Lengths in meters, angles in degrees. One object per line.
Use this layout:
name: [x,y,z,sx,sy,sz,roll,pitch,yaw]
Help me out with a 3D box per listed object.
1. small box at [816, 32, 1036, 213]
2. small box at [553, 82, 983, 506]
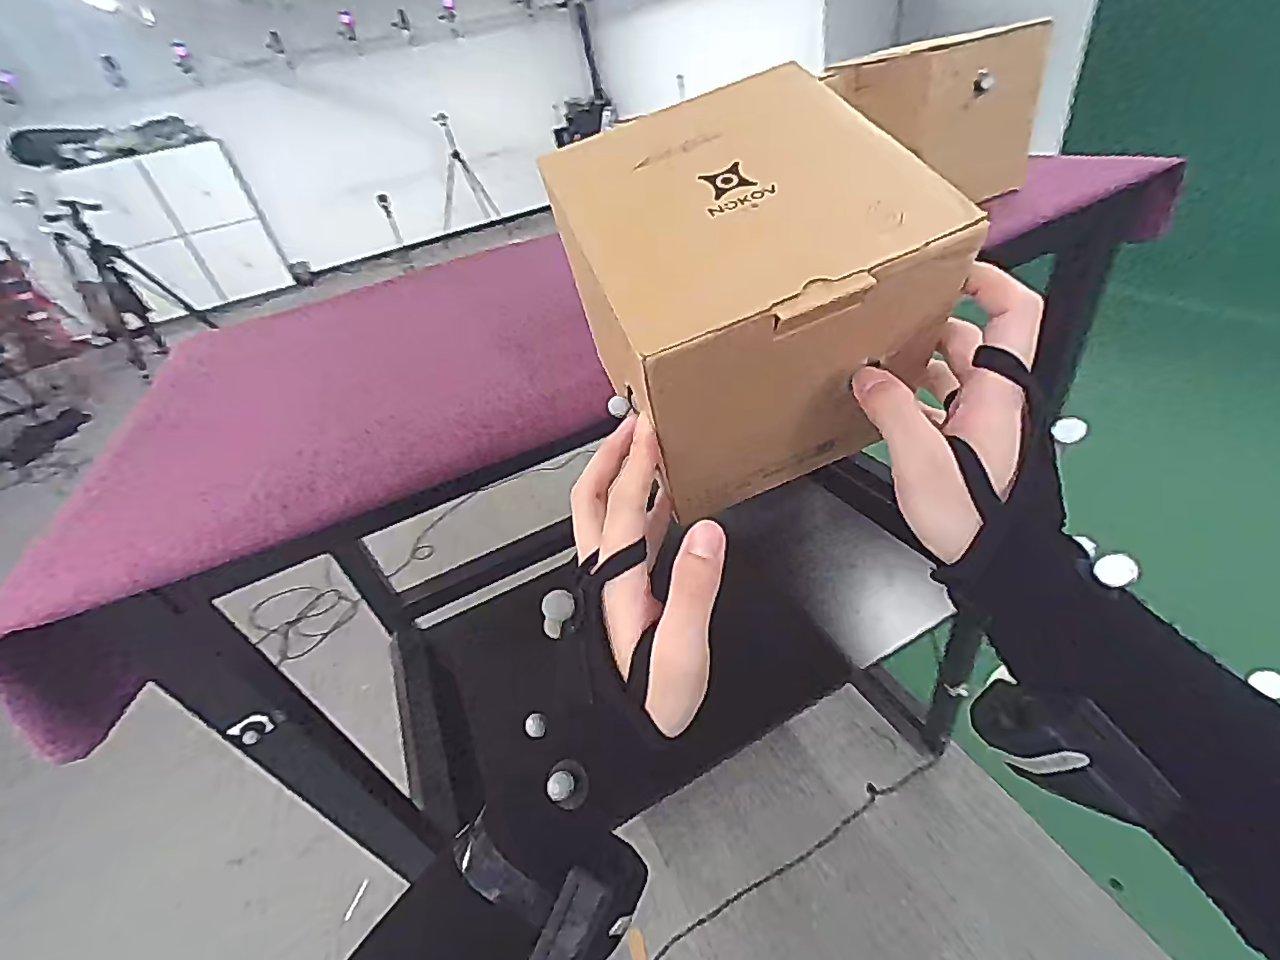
small box: [0.345,-0.430,0.682,0.179,0.176,0.168,-24,38,-15]
small box: [0.064,-0.103,0.349,0.168,0.176,0.179,-22,59,-3]
